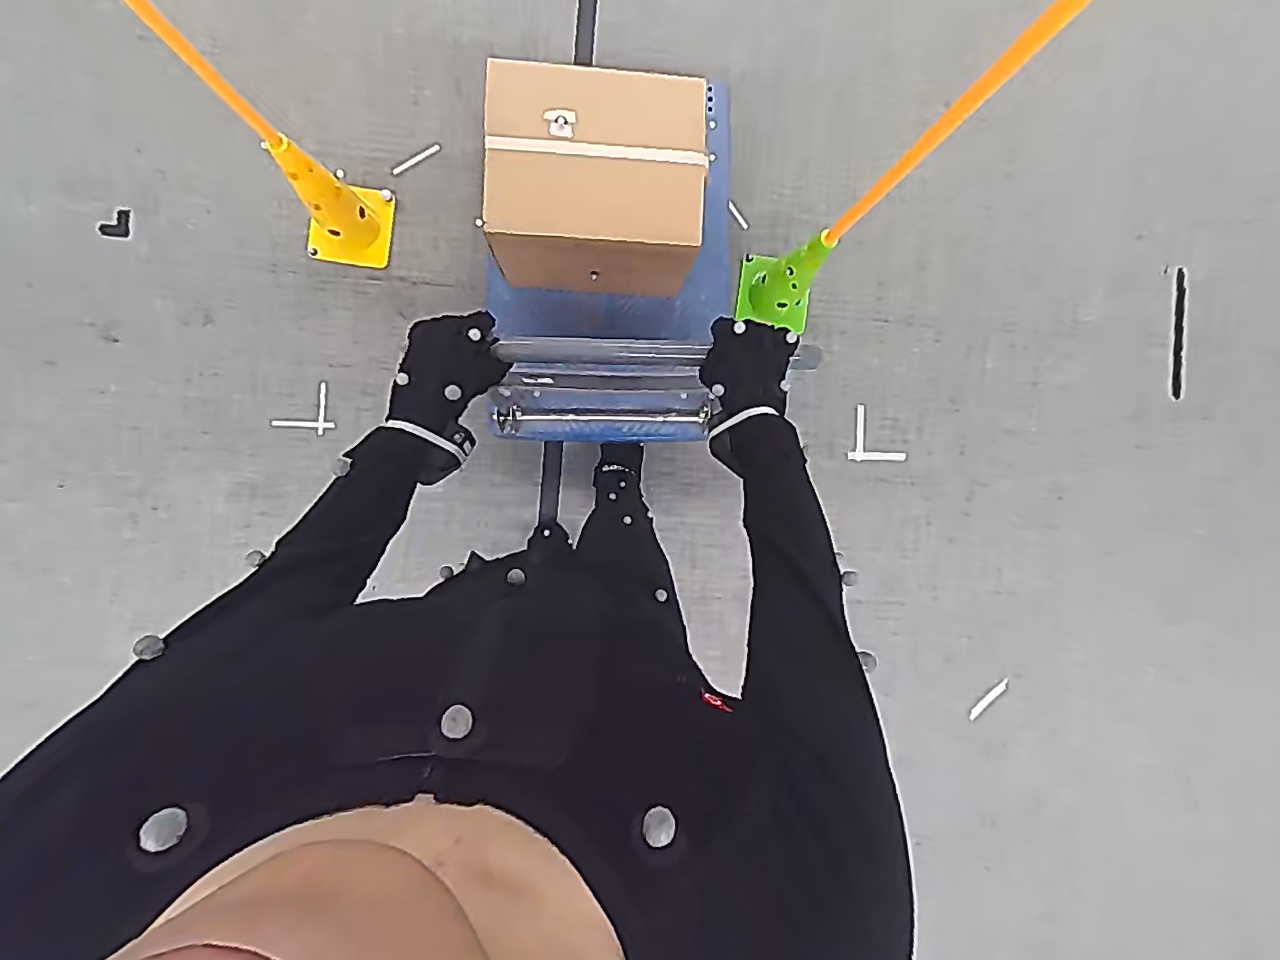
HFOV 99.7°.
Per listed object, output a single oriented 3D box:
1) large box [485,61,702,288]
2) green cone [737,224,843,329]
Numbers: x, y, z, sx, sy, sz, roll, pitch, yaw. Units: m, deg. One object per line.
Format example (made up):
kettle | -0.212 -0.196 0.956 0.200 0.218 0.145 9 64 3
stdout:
large box | -0.091 -0.613 1.150 0.408 0.320 0.320 2 91 -4
green cone | 0.393 -0.531 1.339 0.202 0.368 0.200 8 90 -7
